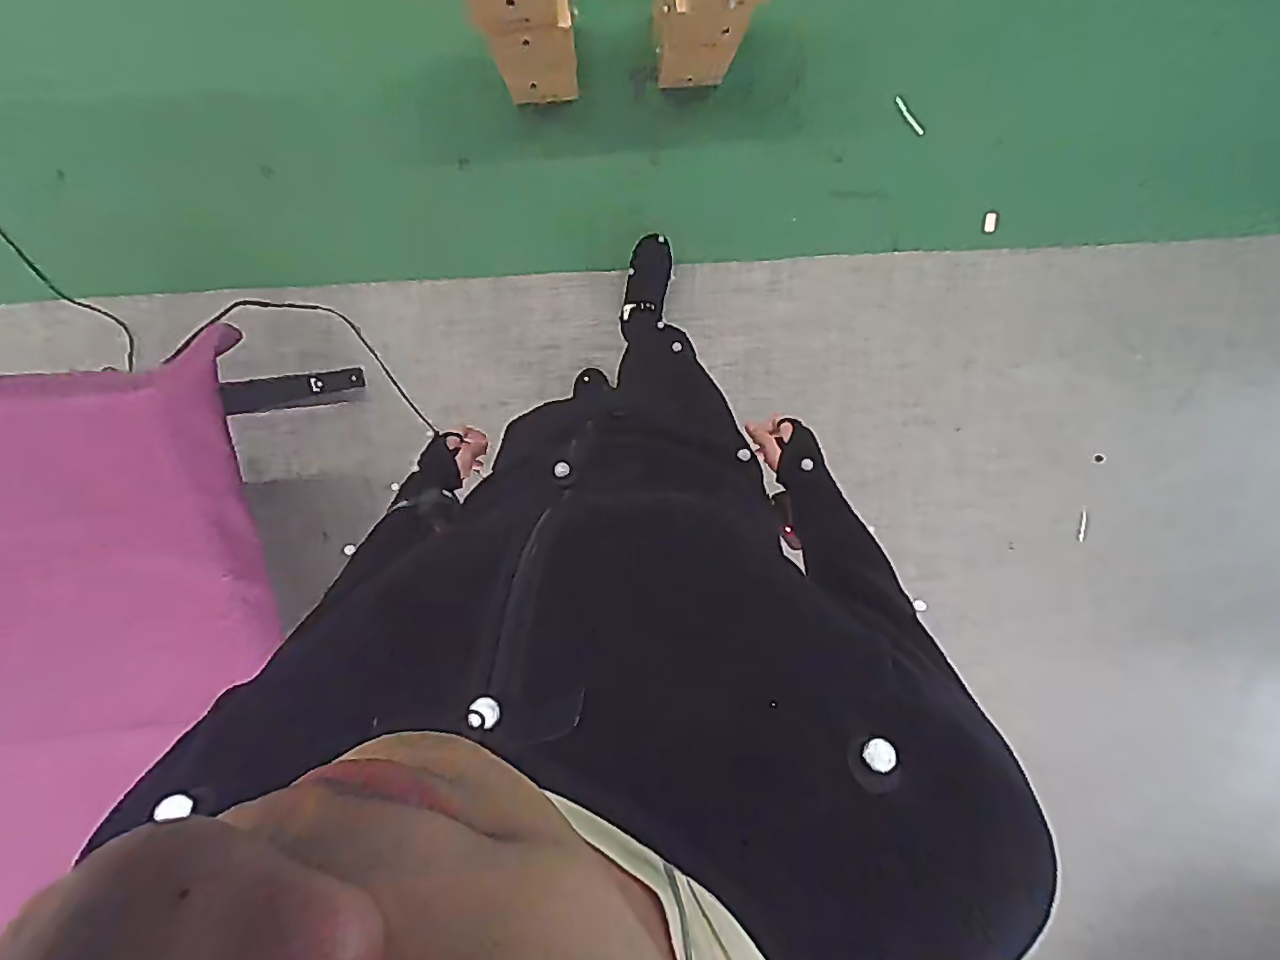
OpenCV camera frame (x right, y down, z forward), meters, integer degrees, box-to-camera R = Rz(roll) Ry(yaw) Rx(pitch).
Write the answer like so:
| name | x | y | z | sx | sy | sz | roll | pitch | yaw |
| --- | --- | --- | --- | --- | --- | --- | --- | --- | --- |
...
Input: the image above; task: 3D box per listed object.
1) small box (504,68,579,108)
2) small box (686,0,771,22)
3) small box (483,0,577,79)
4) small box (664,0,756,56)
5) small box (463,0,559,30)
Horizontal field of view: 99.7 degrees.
| name | x | y | z | sx | sy | sz | roll | pitch | yaw |
| --- | --- | --- | --- | --- | --- | --- | --- | --- | --- |
| small box | -0.238 | -1.014 | 1.287 | 0.168 | 0.176 | 0.179 | -6 | 103 | -2 |
| small box | 0.169 | -0.989 | 0.982 | 0.168 | 0.176 | 0.179 | -11 | 107 | -2 |
| small box | -0.231 | -0.971 | 1.129 | 0.179 | 0.176 | 0.168 | -6 | 104 | -2 |
| small box | 0.142 | -1.029 | 1.138 | 0.168 | 0.176 | 0.179 | -6 | 105 | -3 |
| small box | -0.242 | -0.944 | 0.965 | 0.168 | 0.176 | 0.179 | -5 | 104 | -1 |
